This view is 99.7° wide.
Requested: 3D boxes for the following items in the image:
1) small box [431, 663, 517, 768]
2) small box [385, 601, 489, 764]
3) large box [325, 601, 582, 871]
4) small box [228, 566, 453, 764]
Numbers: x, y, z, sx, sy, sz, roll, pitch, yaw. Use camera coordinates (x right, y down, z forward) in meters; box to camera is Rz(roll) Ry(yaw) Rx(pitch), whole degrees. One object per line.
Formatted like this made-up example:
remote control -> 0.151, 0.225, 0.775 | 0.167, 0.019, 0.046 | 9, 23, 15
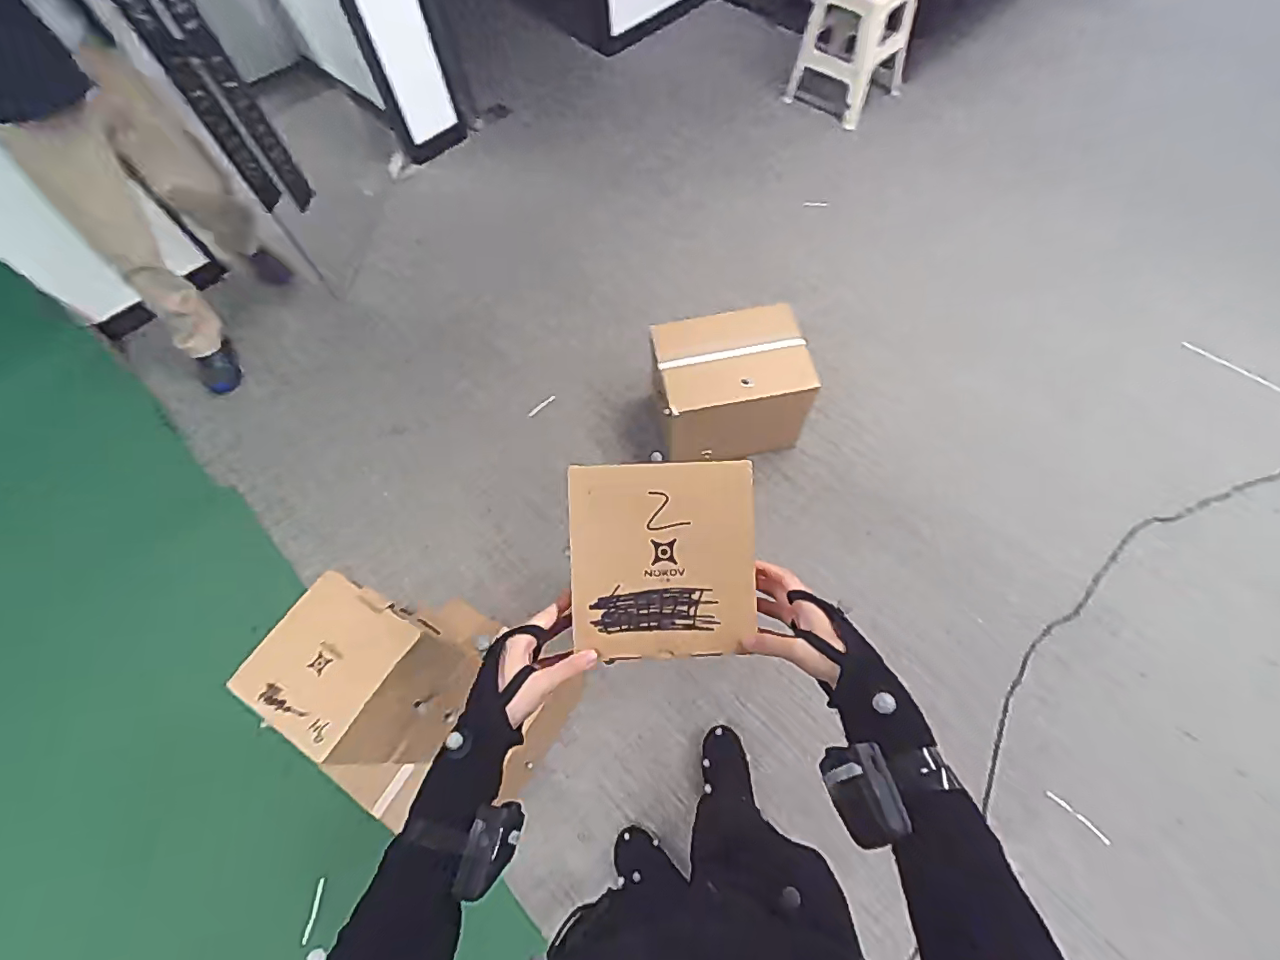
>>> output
small box -> -0.357, 0.409, 1.011 | 0.179, 0.176, 0.168 | 28, 67, 17
small box -> -0.366, 0.328, 0.869 | 0.168, 0.176, 0.179 | 27, 67, 16
large box -> -0.378, 0.550, 1.214 | 0.320, 0.320, 0.408 | 27, 68, 17
small box -> -0.377, 0.251, 0.724 | 0.168, 0.176, 0.179 | 28, 66, 17
